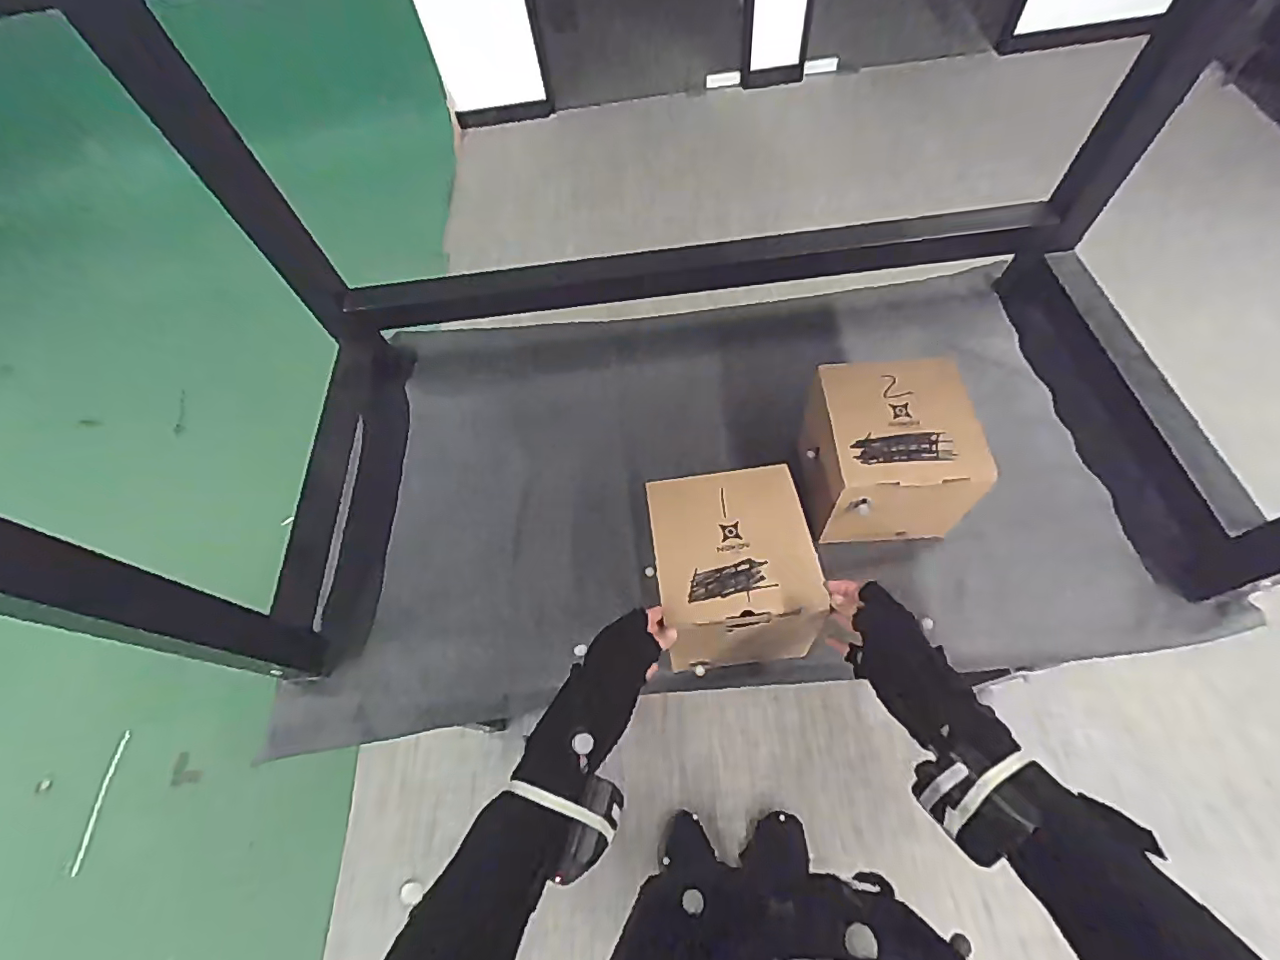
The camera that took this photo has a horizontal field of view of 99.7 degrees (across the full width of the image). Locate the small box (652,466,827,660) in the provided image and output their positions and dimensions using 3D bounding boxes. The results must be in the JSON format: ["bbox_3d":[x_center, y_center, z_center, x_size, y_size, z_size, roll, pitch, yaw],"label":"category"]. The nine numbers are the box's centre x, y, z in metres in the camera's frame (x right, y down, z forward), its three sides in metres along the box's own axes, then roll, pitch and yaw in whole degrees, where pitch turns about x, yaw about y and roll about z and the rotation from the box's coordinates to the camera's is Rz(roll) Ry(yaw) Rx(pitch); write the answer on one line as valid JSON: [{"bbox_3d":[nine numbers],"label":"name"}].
[{"bbox_3d":[0.111,0.109,0.656,0.168,0.176,0.179,-8,56,2],"label":"small box"}]
